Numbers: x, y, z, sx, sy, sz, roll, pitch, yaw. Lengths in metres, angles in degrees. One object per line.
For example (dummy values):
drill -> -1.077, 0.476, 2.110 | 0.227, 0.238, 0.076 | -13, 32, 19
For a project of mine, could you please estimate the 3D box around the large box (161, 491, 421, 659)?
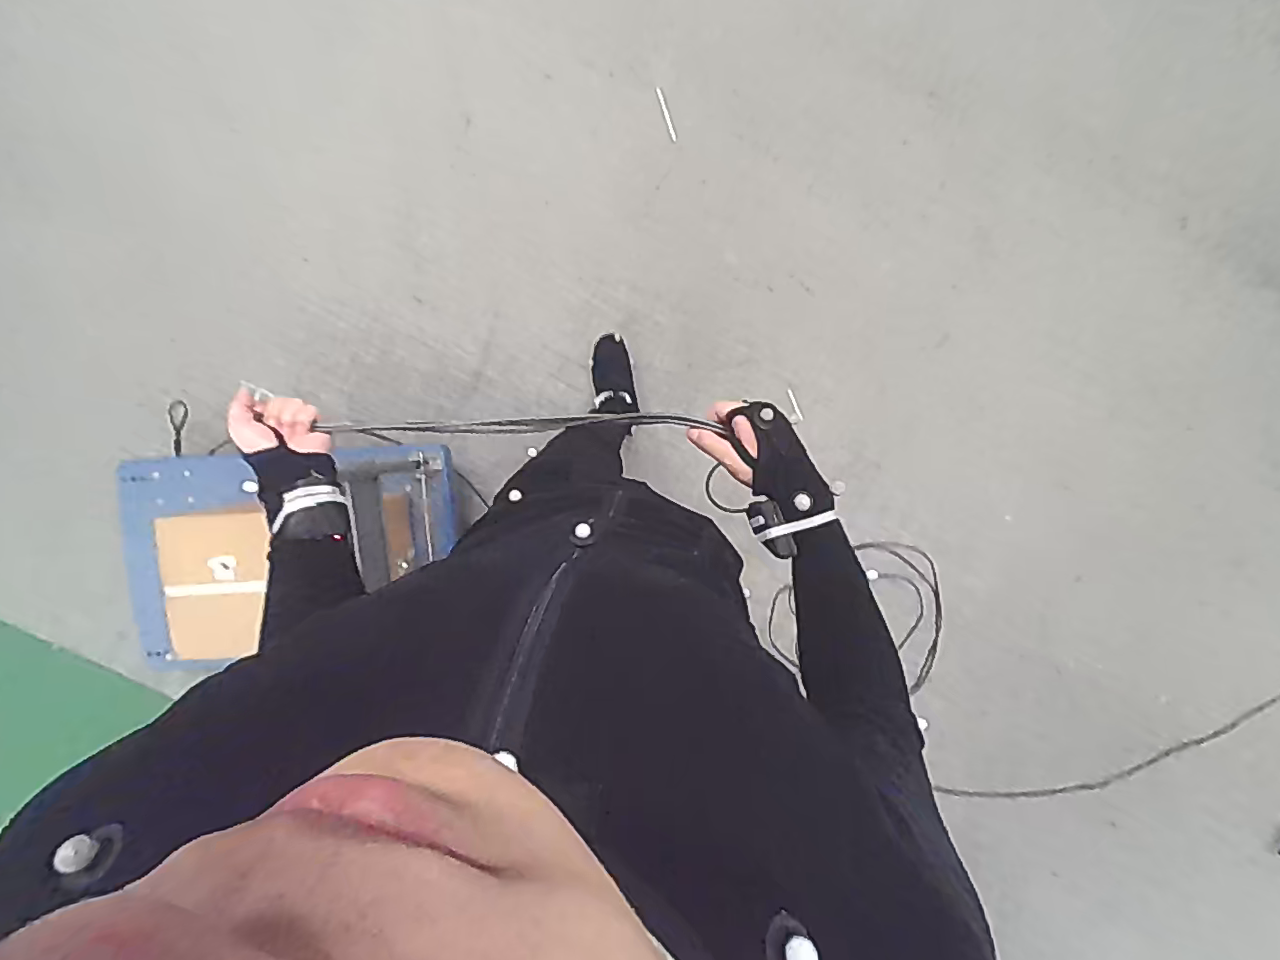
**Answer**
large box -> -0.790, 0.206, 1.285 | 0.408, 0.320, 0.320 | -3, 95, 1
